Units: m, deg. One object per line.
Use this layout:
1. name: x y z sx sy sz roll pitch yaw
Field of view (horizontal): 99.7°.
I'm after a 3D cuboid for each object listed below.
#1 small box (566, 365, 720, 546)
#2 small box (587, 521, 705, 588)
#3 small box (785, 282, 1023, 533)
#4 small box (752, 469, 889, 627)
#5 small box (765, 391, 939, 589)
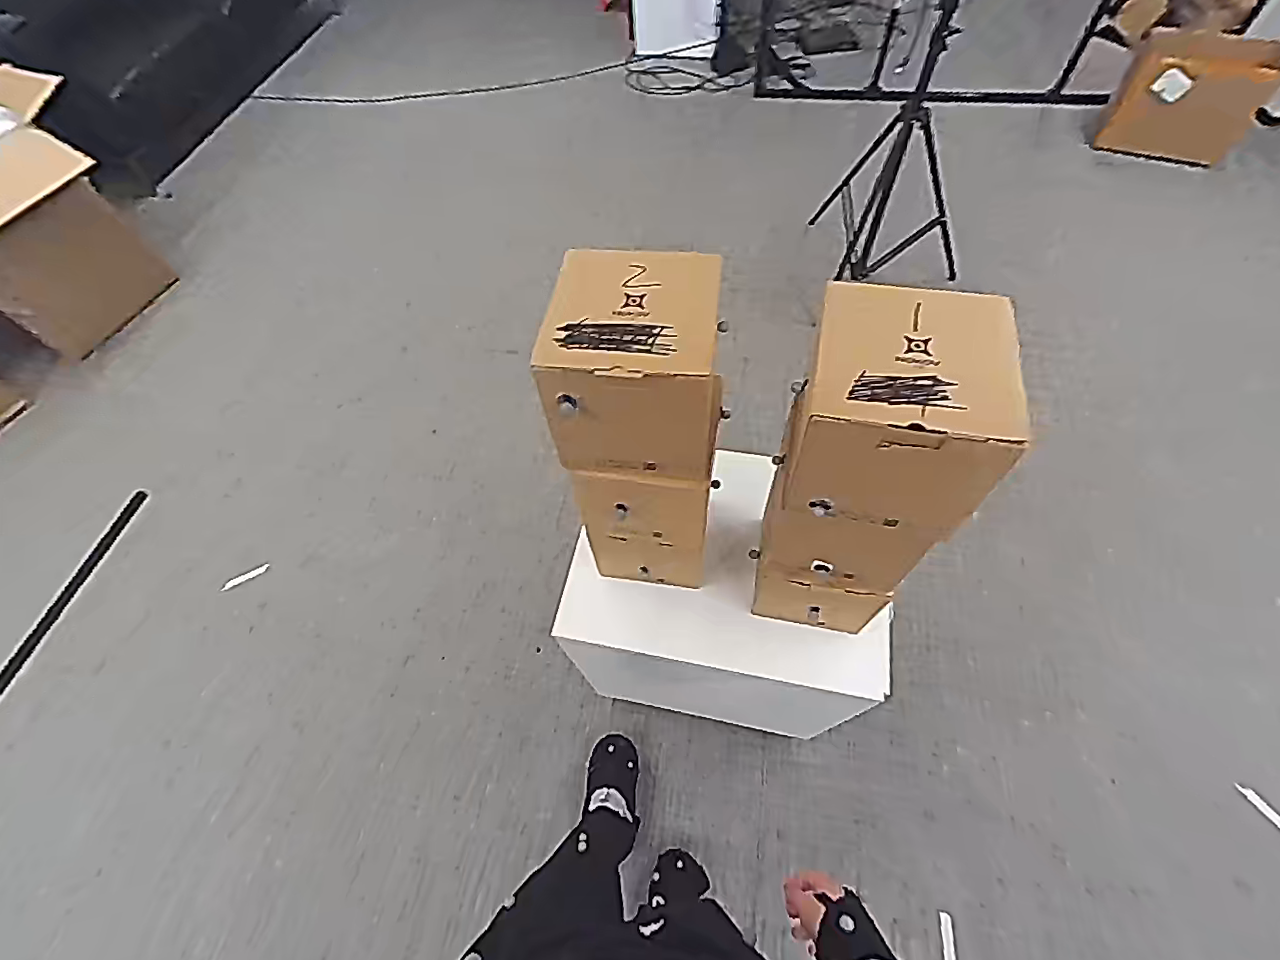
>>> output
1. small box: 0.013 -0.028 0.724 0.168 0.176 0.179 7 59 8
2. small box: 0.021 0.053 0.865 0.168 0.176 0.179 6 60 8
3. small box: 0.244 -0.067 0.539 0.168 0.176 0.179 10 59 12
4. small box: 0.265 0.108 0.814 0.168 0.176 0.179 9 61 9
5. small box: 0.255 0.016 0.681 0.168 0.176 0.179 8 60 11
